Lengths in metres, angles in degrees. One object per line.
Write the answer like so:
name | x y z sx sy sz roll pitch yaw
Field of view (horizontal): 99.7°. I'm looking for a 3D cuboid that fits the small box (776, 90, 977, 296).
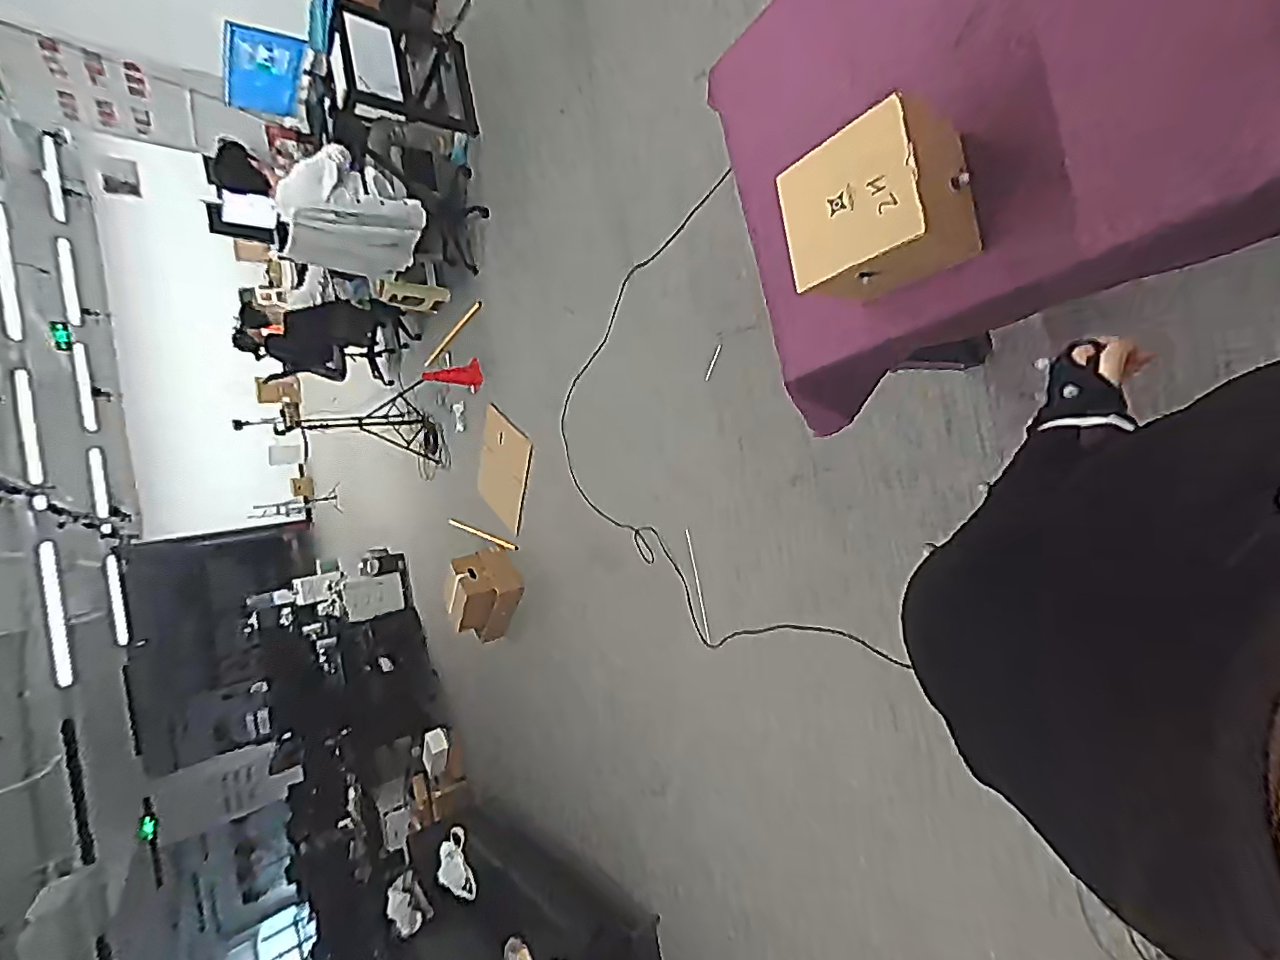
small box | 0.314 -0.361 0.724 0.179 0.176 0.168 -12 87 51
